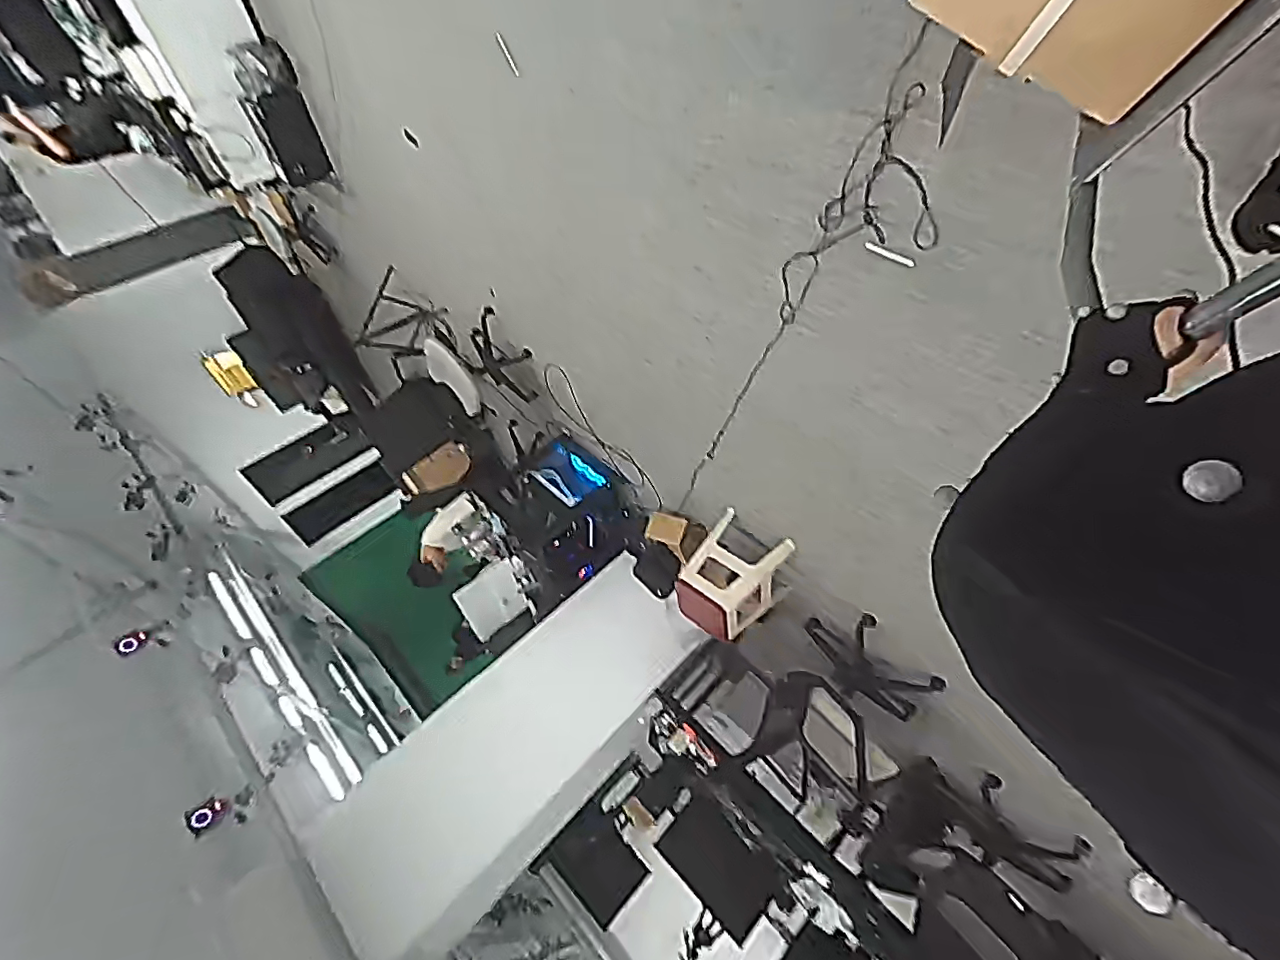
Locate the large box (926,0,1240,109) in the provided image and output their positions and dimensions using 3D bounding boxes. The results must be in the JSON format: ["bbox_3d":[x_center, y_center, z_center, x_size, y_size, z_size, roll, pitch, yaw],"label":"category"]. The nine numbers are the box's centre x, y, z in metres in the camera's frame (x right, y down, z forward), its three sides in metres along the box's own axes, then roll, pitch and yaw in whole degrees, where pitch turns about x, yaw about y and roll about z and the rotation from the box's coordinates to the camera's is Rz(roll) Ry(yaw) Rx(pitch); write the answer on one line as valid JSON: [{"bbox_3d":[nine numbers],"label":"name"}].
[{"bbox_3d":[0.599,-0.735,0.583,0.320,0.320,0.408,31,153,2],"label":"large box"}]
